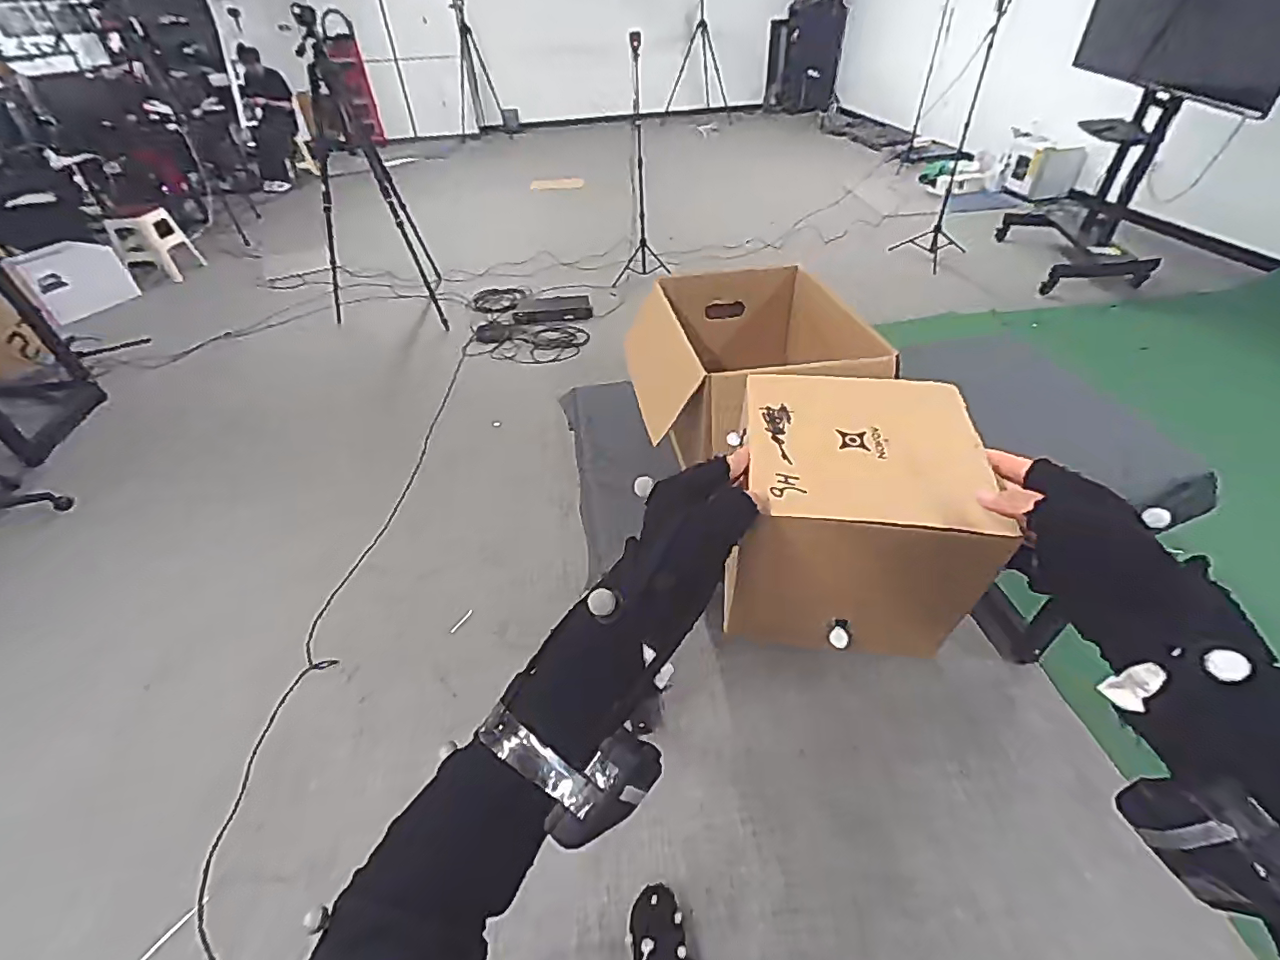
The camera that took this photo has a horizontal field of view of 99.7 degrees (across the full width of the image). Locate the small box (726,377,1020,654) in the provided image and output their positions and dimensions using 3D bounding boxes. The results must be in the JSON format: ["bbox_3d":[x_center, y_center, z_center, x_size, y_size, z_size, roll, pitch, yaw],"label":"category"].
[{"bbox_3d":[0.175,0.033,0.471,0.179,0.176,0.168,6,45,6],"label":"small box"}]
